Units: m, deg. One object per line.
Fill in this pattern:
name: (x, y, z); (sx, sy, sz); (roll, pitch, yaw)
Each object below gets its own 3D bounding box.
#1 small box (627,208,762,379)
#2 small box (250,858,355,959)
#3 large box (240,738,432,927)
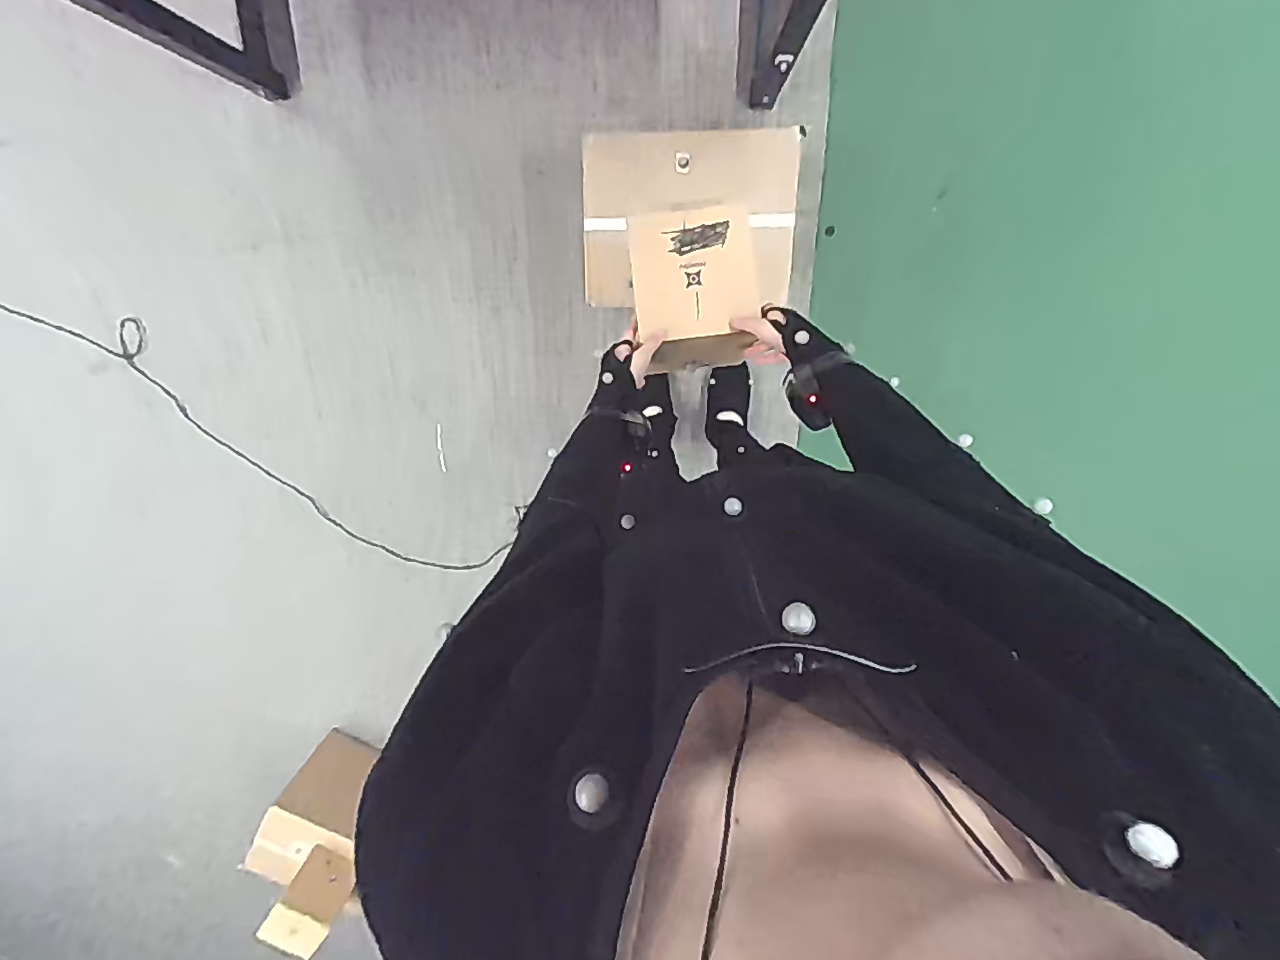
small box: (0.071, -0.259, 0.784); (0.168, 0.176, 0.179); (-6, 86, 1)
small box: (-0.961, 1.248, 1.556); (0.168, 0.176, 0.179); (34, 107, -7)
large box: (-0.979, 1.147, 1.782); (0.408, 0.320, 0.320); (30, 106, -4)
